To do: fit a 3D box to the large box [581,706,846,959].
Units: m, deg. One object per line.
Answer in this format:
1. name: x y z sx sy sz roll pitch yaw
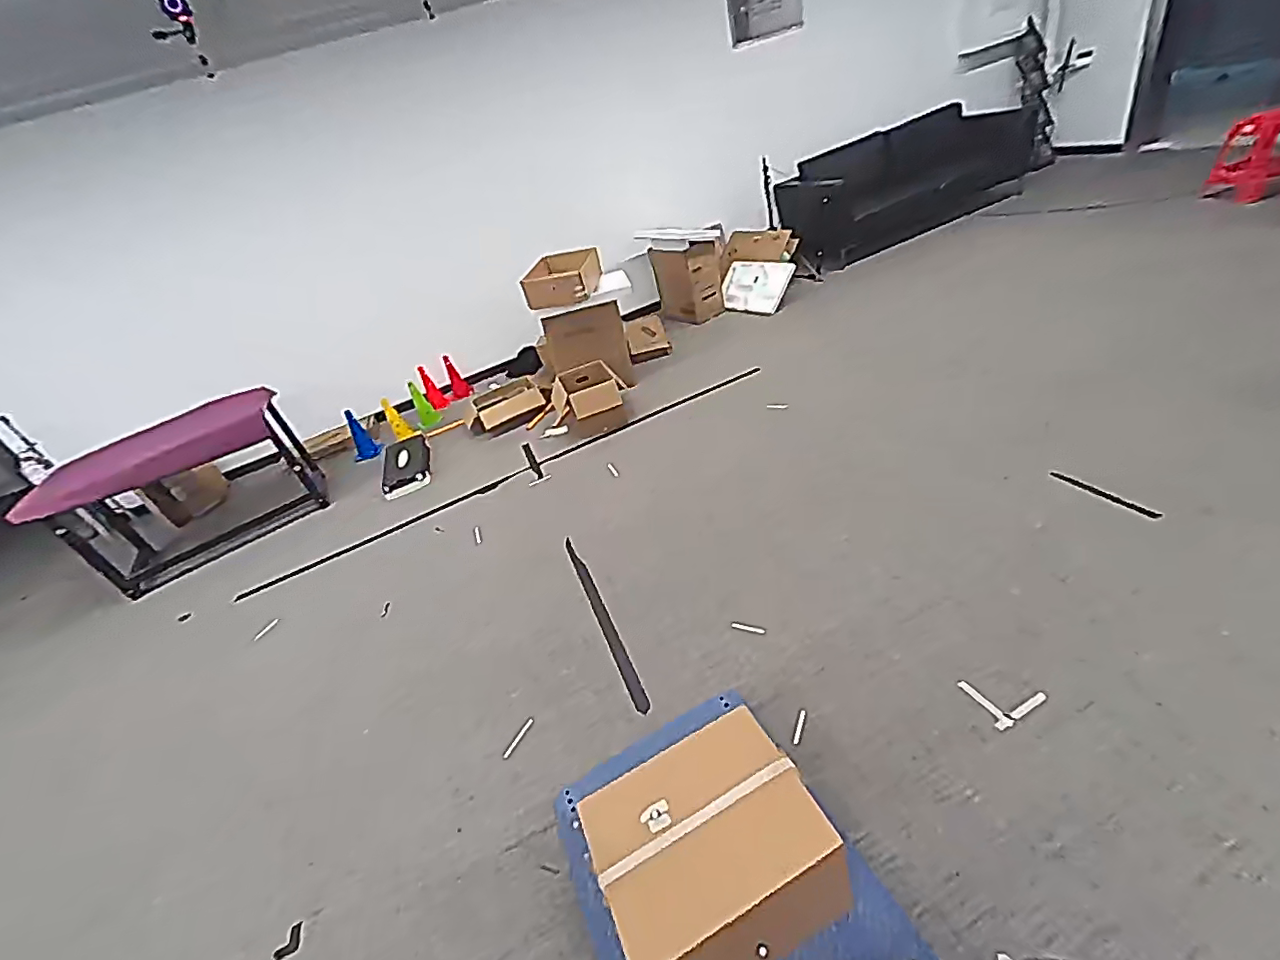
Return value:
1. large box: 0.152 0.758 1.095 0.408 0.320 0.320 -26 33 -12
